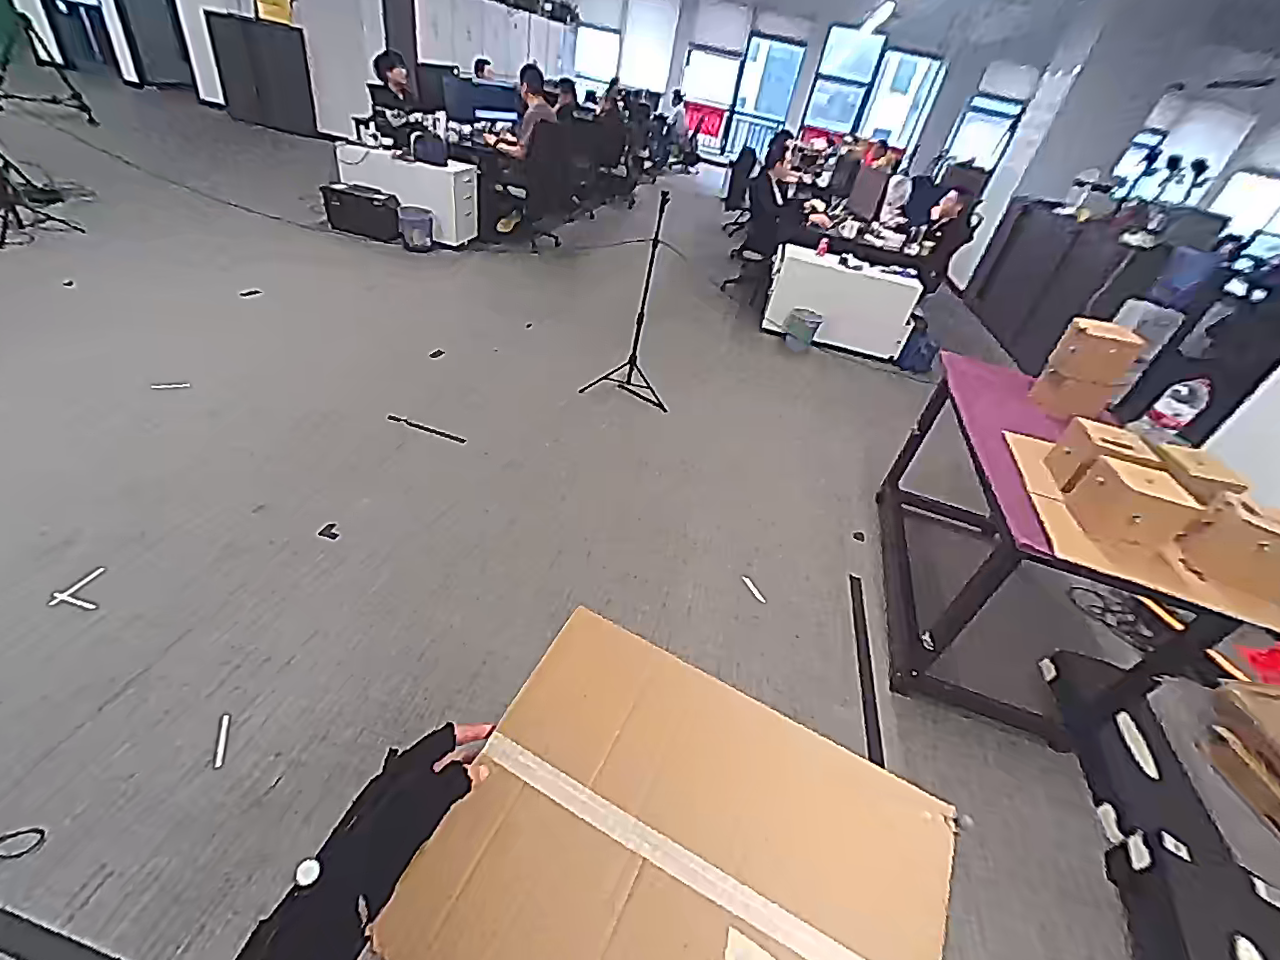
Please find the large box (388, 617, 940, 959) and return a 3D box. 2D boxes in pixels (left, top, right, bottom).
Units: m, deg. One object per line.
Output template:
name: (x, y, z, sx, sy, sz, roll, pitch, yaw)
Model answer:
large box: (0.027, 0.422, 0.580, 0.408, 0.320, 0.320, 25, 53, 13)
